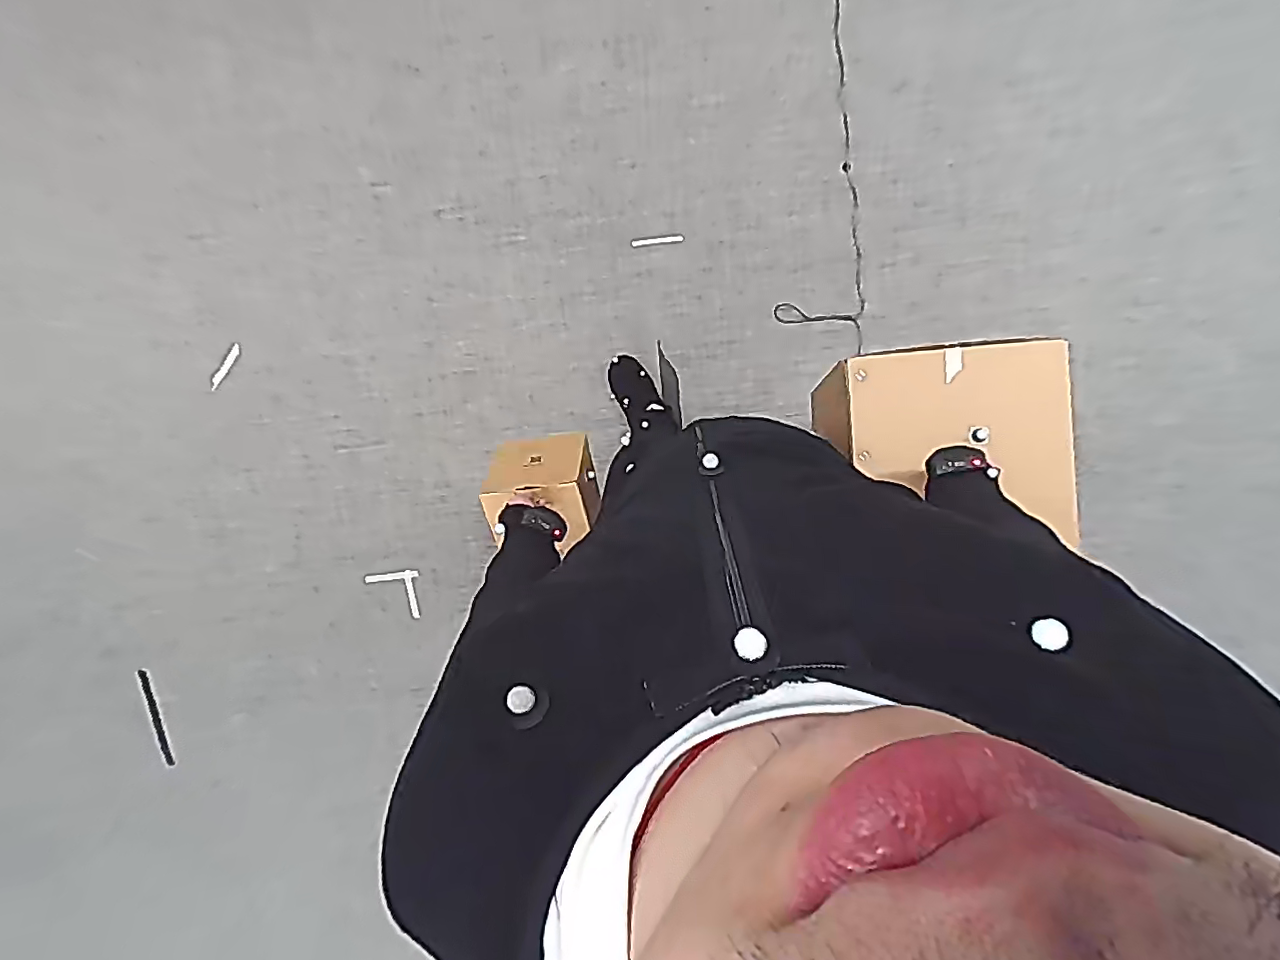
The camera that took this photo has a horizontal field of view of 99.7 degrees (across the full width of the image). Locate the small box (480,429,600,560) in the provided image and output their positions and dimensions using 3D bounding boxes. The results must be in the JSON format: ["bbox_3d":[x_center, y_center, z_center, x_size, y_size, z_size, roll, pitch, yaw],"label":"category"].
[{"bbox_3d":[-0.170,0.031,0.984,0.168,0.179,0.176,-7,125,4],"label":"small box"}]
